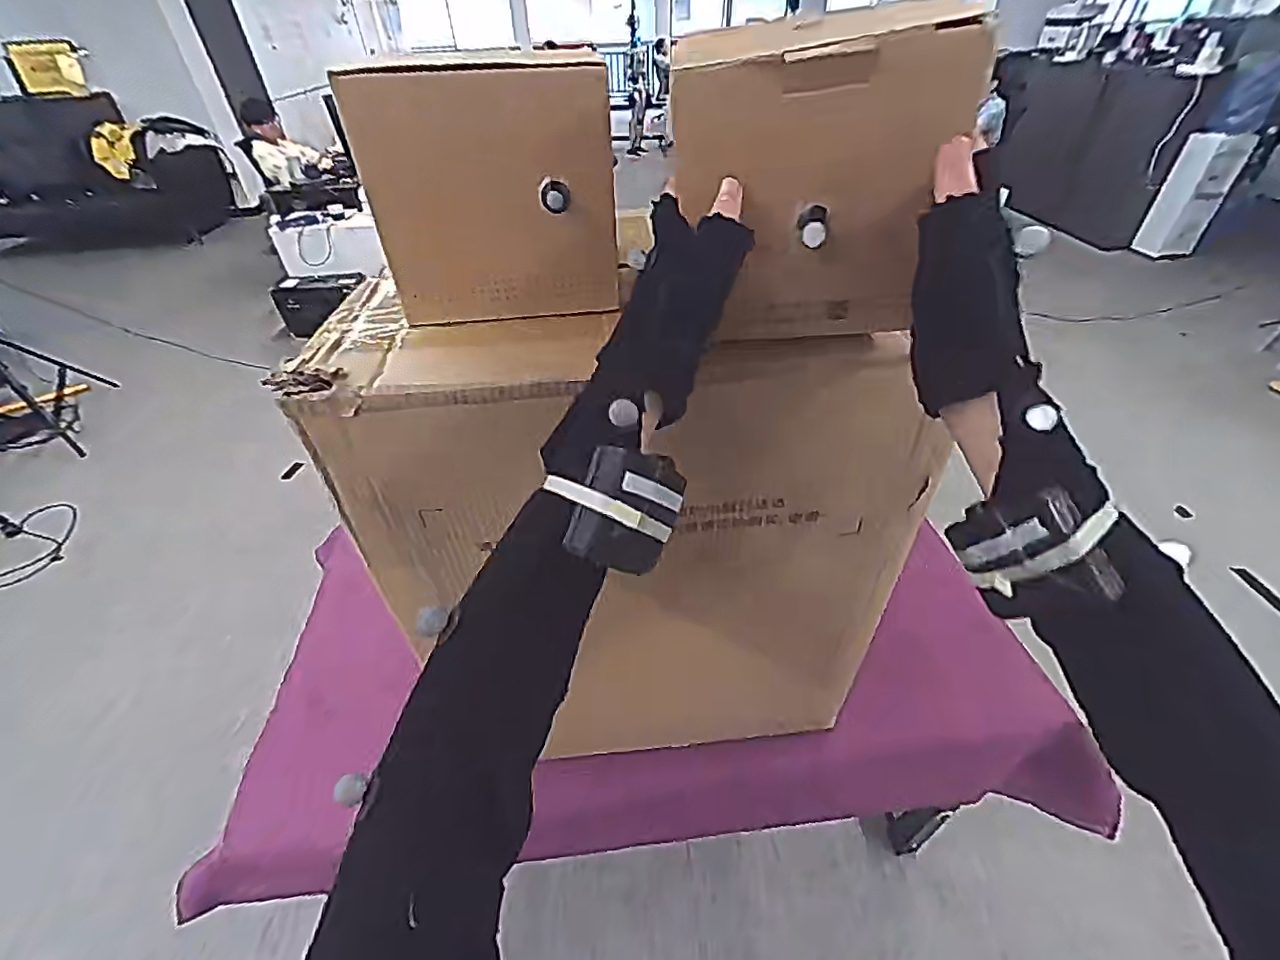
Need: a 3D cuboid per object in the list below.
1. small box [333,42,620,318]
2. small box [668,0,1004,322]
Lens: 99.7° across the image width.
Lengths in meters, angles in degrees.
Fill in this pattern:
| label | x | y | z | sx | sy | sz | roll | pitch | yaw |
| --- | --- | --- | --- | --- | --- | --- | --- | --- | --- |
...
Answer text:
| label | x | y | z | sx | sy | sz | roll | pitch | yaw |
| --- | --- | --- | --- | --- | --- | --- | --- | --- | --- |
| small box | -0.111 | -0.249 | 0.447 | 0.179 | 0.176 | 0.168 | -7 | 41 | -6 |
| small box | 0.118 | -0.225 | 0.383 | 0.168 | 0.176 | 0.179 | -1 | 46 | 11 |
